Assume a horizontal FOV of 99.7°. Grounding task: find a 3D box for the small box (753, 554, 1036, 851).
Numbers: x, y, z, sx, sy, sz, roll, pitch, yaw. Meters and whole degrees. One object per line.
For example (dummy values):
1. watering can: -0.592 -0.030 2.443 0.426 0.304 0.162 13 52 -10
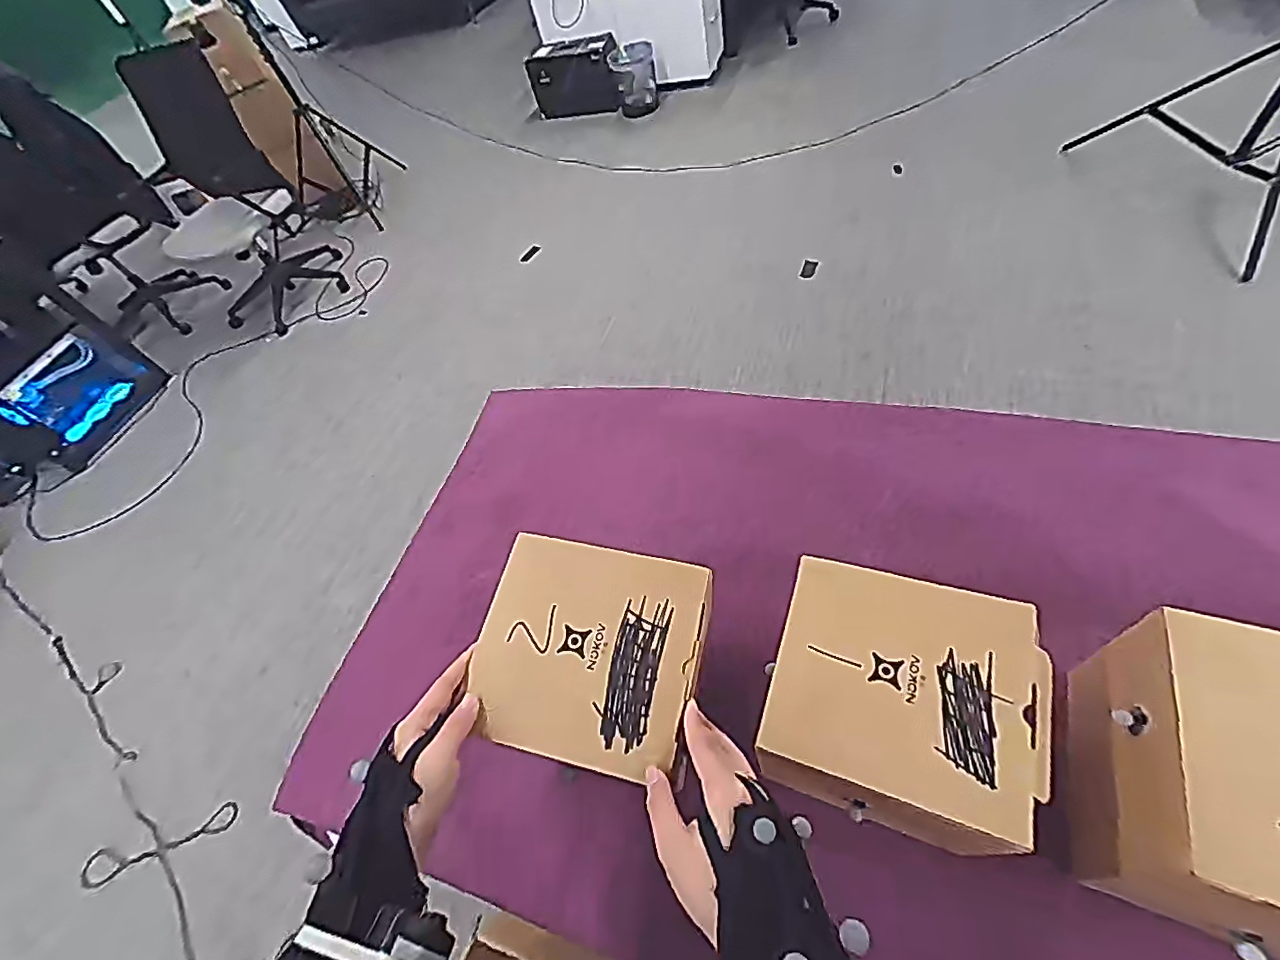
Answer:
1. small box: 0.208 0.190 0.465 0.179 0.176 0.168 11 59 23
